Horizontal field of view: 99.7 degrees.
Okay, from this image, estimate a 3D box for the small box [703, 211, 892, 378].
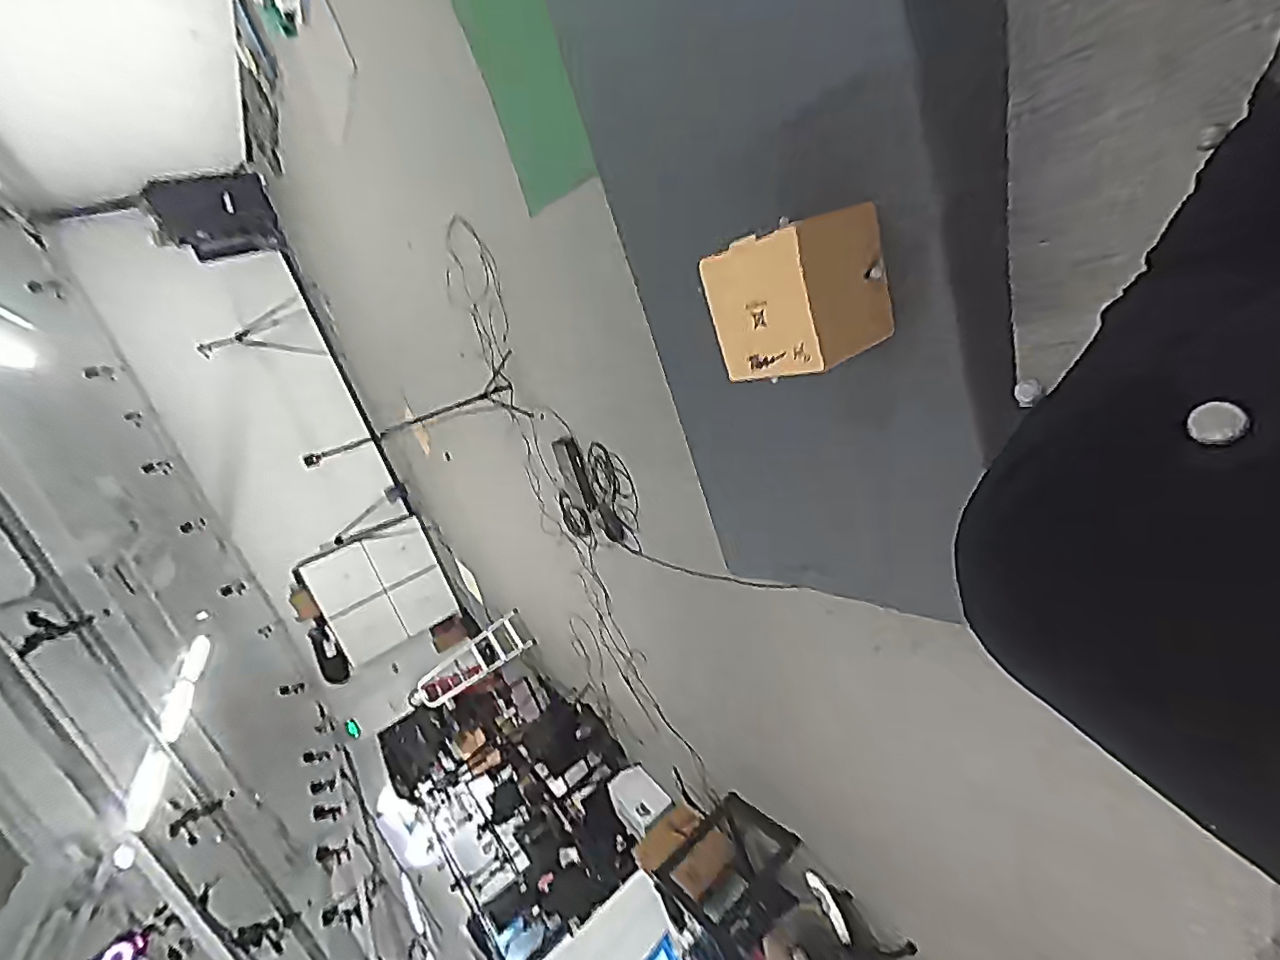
[{"bbox_3d":[0.220,-0.255,0.748,0.168,0.176,0.179,7,120,55],"label":"small box"}]
